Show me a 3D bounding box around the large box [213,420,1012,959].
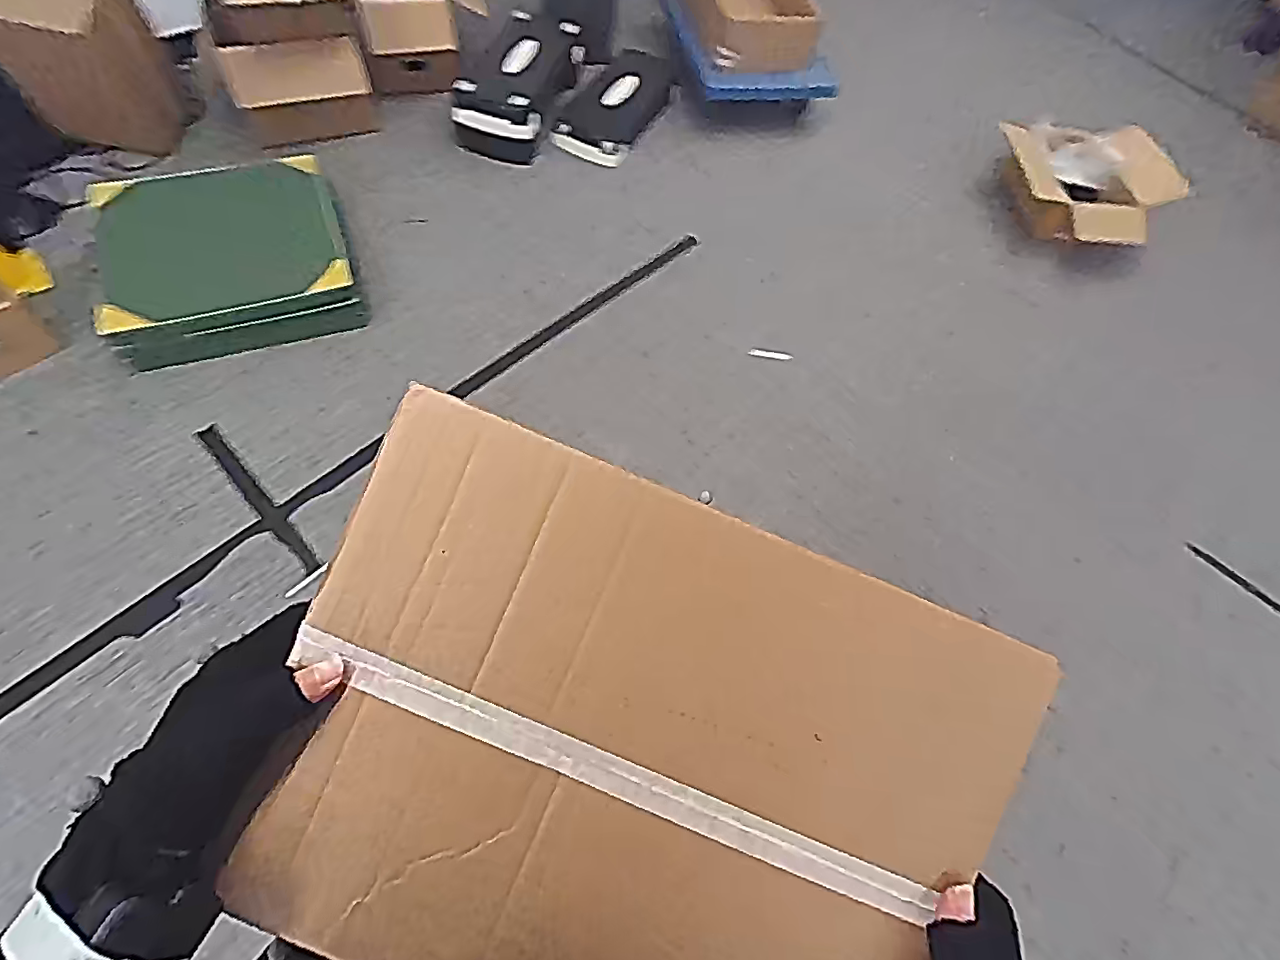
[{"bbox_3d":[-0.014,0.175,0.469,0.408,0.320,0.320,22,88,-1],"label":"large box"}]
